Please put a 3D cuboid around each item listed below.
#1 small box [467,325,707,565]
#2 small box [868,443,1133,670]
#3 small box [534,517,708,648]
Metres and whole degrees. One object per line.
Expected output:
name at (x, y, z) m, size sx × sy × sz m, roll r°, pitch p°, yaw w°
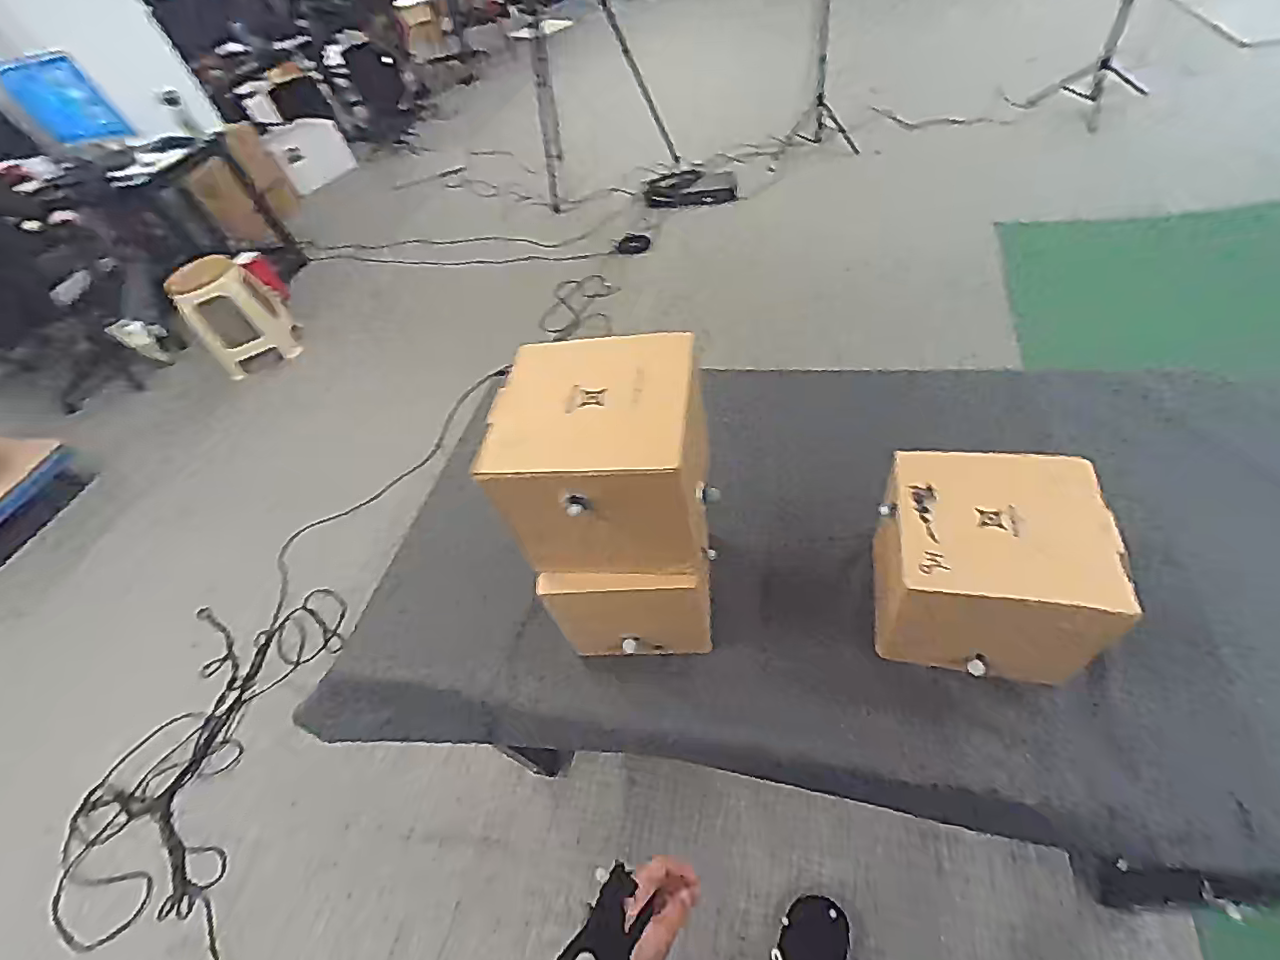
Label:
small box at (-0.033, -0.027, 0.528) m, size 0.179 × 0.176 × 0.168 m, roll -1°, pitch 53°, yaw 12°
small box at (0.345, 0.083, 0.561) m, size 0.179 × 0.176 × 0.168 m, roll 5°, pitch 53°, yaw 16°
small box at (-0.010, 0.085, 0.645) m, size 0.168 × 0.176 × 0.179 m, roll -5°, pitch 52°, yaw 10°
